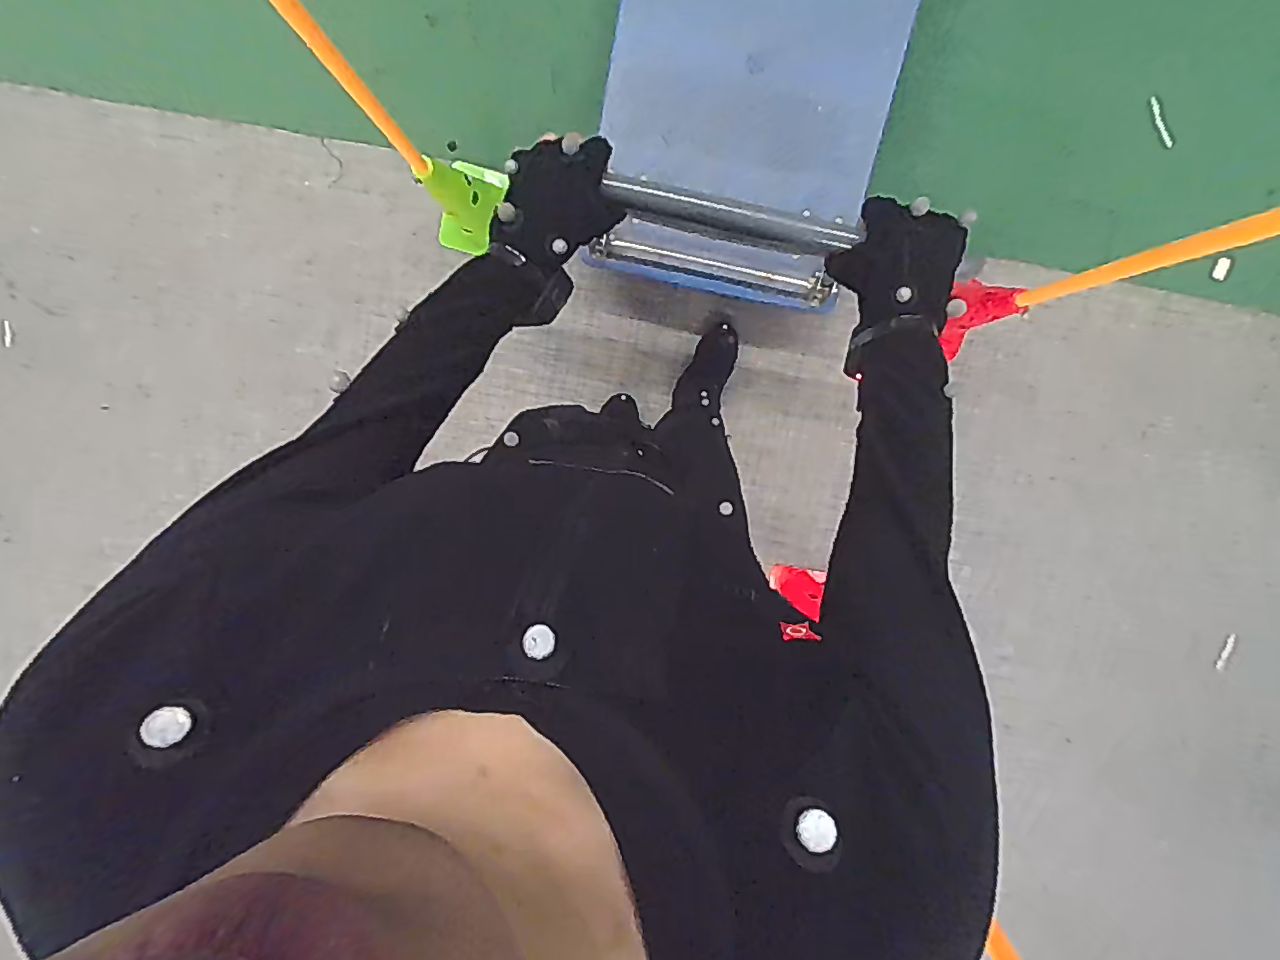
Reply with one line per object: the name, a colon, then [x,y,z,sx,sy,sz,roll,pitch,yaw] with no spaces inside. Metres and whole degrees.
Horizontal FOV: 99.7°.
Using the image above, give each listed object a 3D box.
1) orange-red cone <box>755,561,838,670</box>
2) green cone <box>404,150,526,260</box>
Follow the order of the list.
orange-red cone: [0.432,0.372,1.377,0.199,0.360,0.198,11,103,2]
green cone: [-0.401,-0.629,1.168,0.202,0.368,0.200,15,103,0]
